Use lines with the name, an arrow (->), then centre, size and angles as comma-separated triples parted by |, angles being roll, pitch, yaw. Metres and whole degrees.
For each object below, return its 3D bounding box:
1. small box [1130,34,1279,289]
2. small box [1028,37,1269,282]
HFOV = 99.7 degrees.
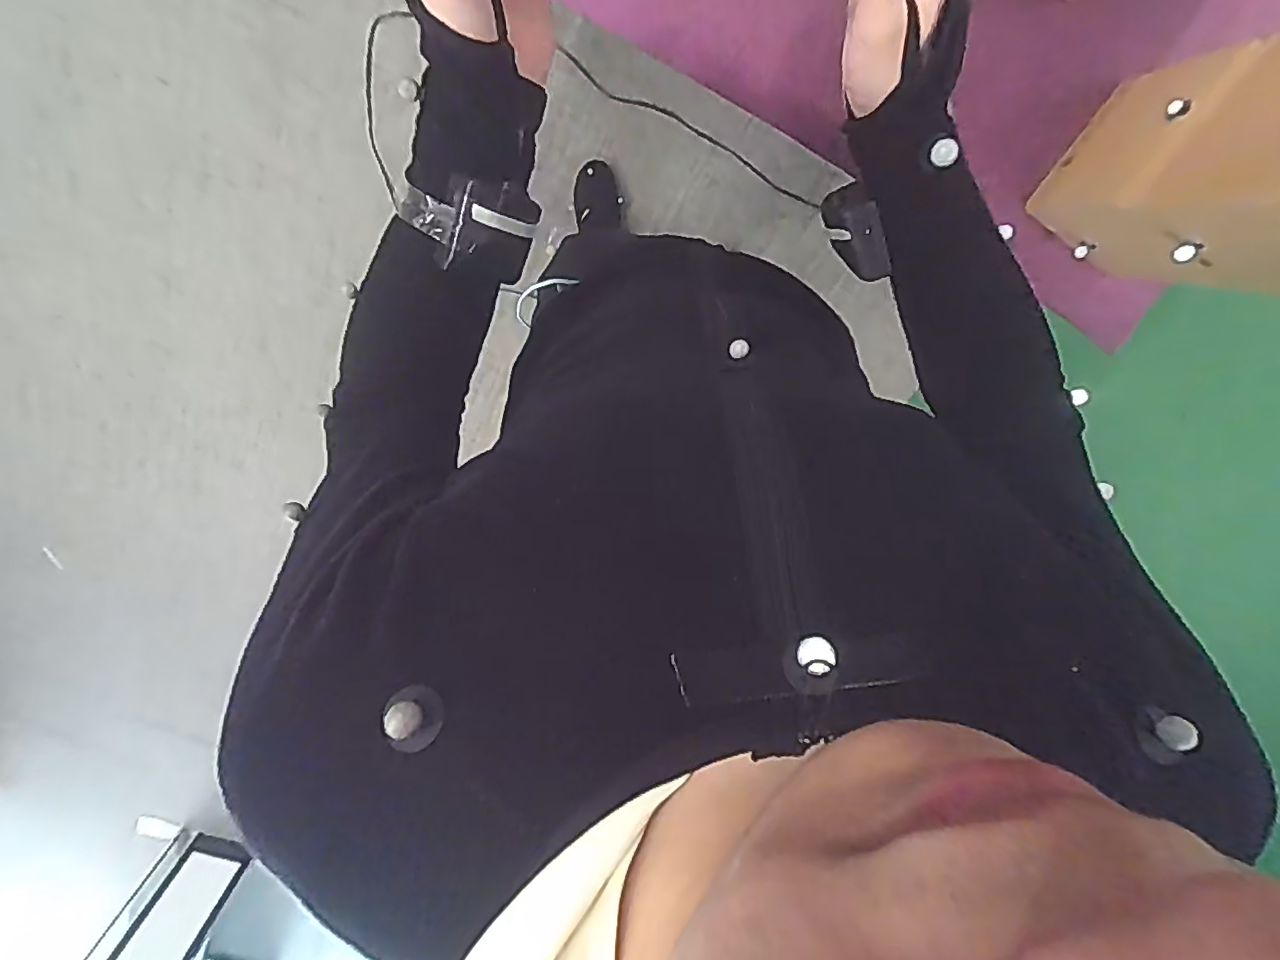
small box -> 0.625, -0.292, 0.491 | 0.168, 0.176, 0.179 | 28, 113, -11
small box -> 0.625, -0.362, 0.638 | 0.179, 0.176, 0.168 | 28, 113, -12
